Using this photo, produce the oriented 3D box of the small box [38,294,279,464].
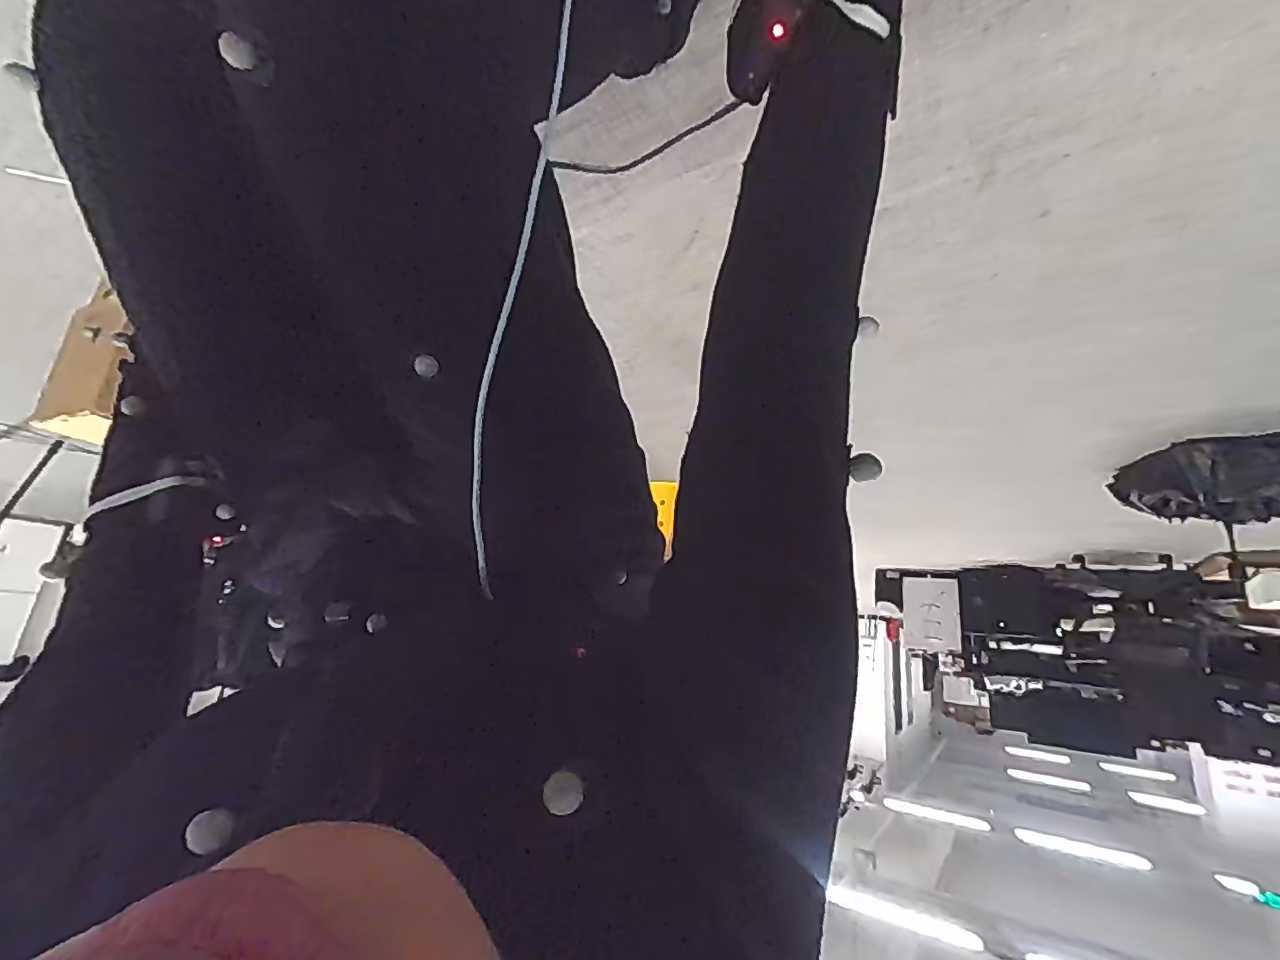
[{"bbox_3d":[-0.643,-0.128,0.742,0.168,0.176,0.179,-1,162,25],"label":"small box"}]
